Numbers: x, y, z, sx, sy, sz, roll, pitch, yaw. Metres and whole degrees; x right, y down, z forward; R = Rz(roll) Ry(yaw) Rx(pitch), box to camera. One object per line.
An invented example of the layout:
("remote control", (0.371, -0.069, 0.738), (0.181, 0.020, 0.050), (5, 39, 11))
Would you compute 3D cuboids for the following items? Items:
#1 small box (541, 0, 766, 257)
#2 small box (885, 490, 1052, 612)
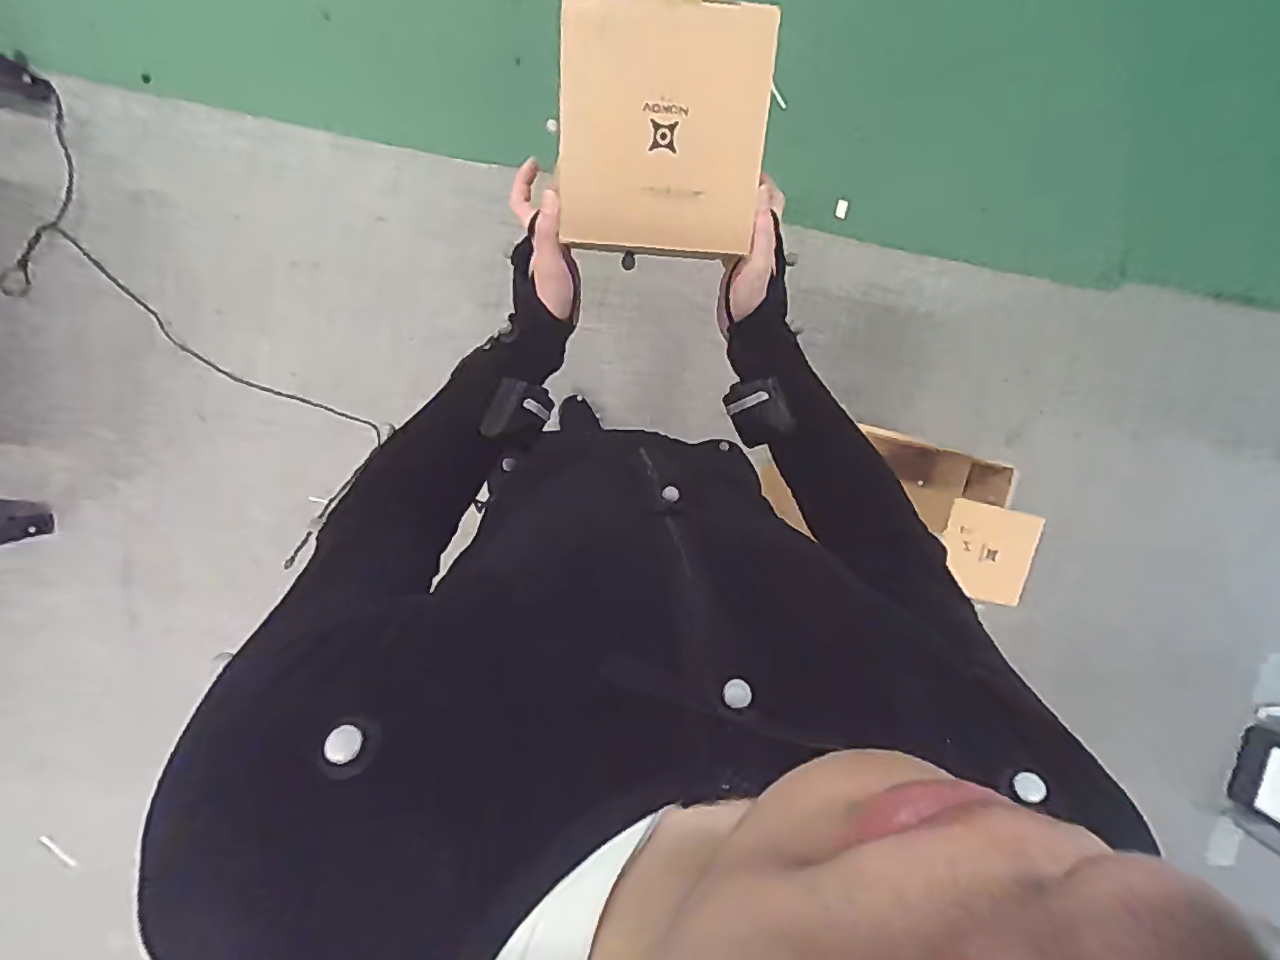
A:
("small box", (0.002, -0.306, 0.492), (0.168, 0.176, 0.179), (3, 111, -4))
("small box", (0.594, 0.122, 0.998), (0.179, 0.176, 0.168), (13, 96, -6))
